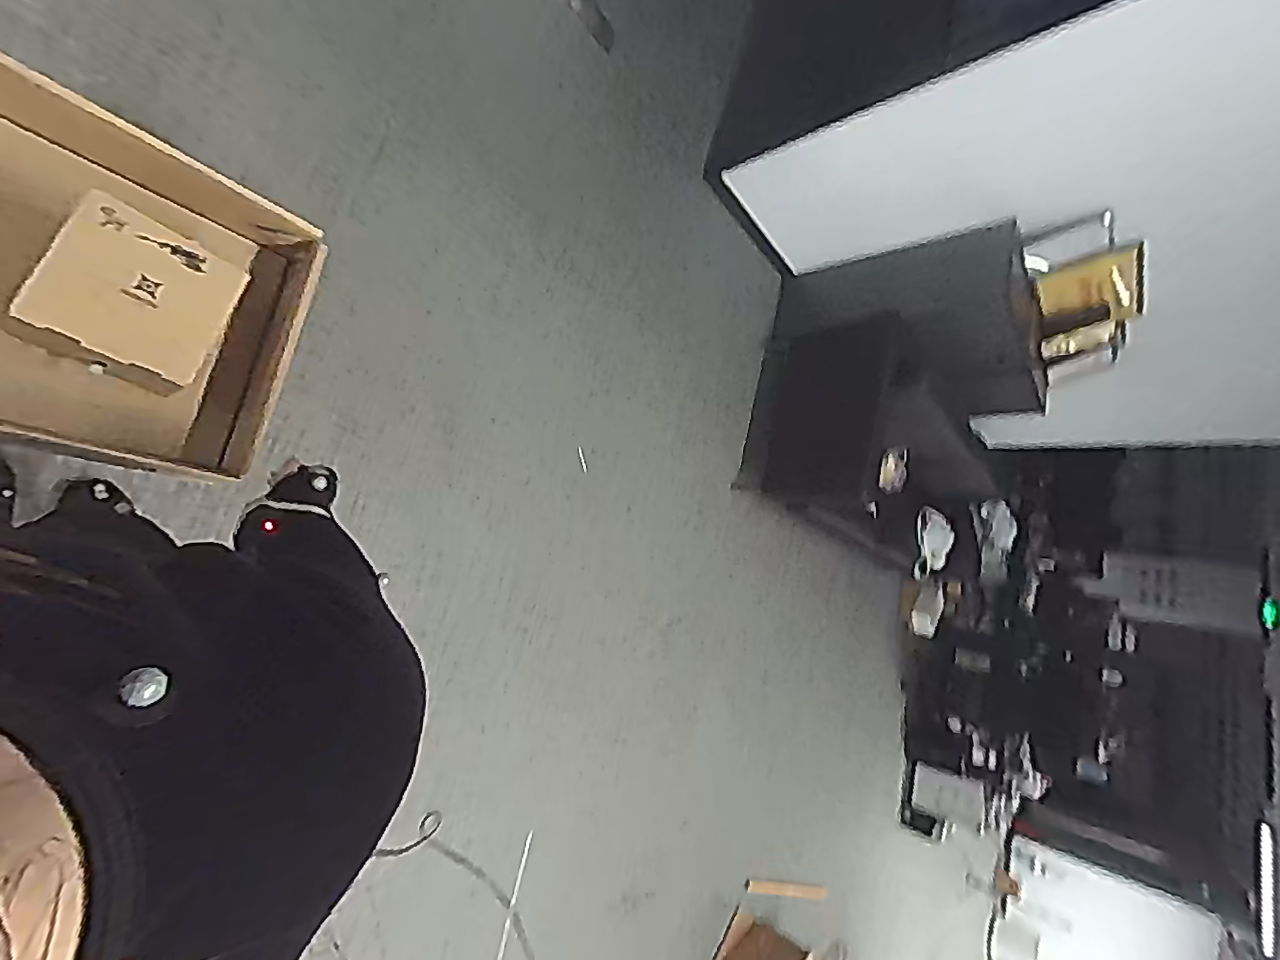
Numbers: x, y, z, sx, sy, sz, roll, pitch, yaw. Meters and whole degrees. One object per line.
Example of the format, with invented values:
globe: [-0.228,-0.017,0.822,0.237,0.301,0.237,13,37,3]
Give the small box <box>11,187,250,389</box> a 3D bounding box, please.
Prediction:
small box: [-0.660,-0.233,0.712,0.168,0.176,0.179,32,69,-45]
